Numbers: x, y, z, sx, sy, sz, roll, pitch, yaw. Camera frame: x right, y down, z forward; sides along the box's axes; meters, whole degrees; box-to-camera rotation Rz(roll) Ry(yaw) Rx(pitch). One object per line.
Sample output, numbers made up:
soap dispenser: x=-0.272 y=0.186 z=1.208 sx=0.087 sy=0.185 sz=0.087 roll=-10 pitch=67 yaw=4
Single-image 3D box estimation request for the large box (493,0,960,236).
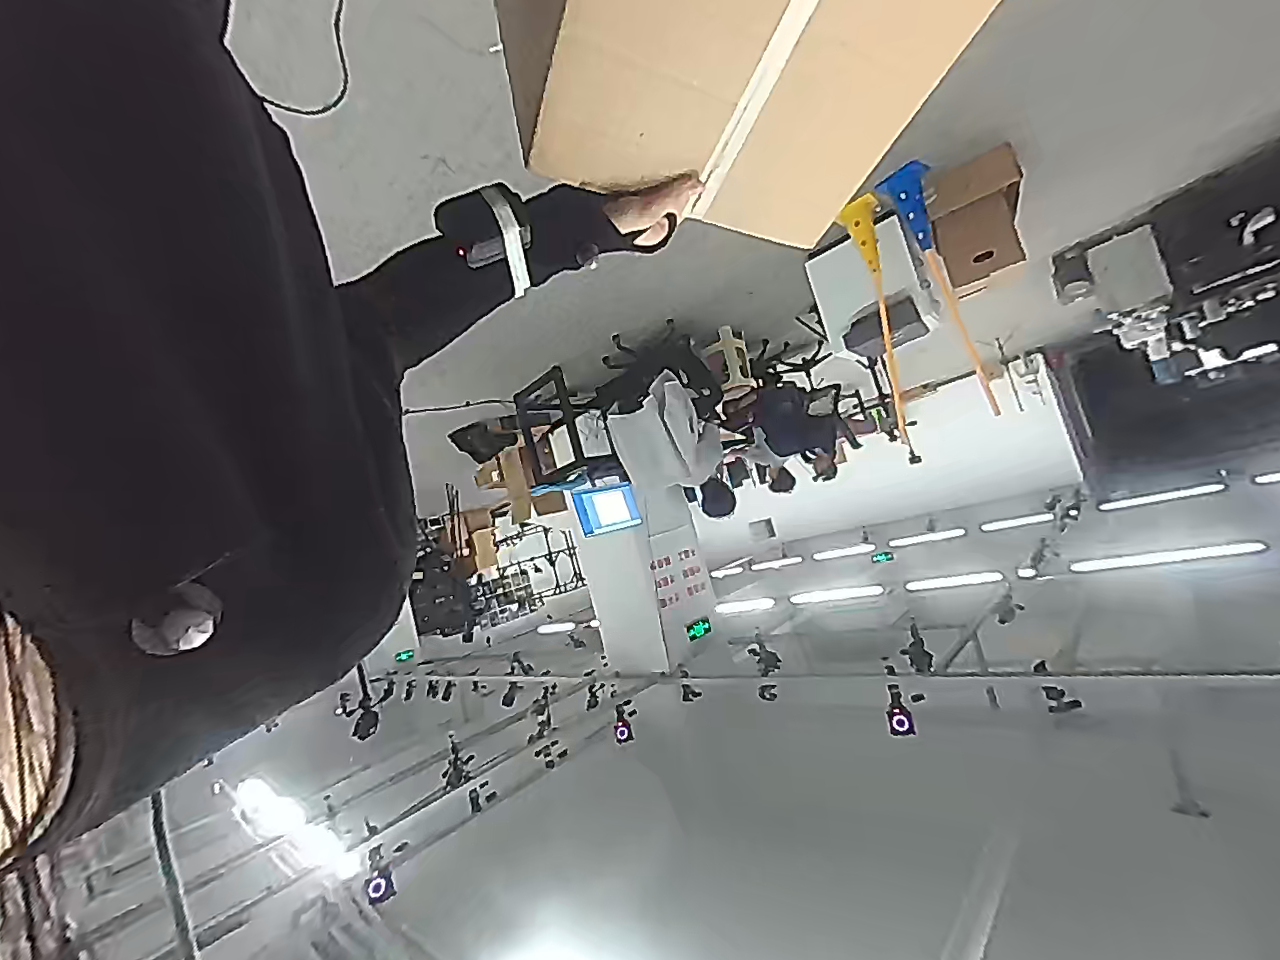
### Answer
large box: x=0.074 y=-0.492 z=0.434 sx=0.320 sy=0.320 sz=0.408 roll=1 pitch=149 yaw=-27
